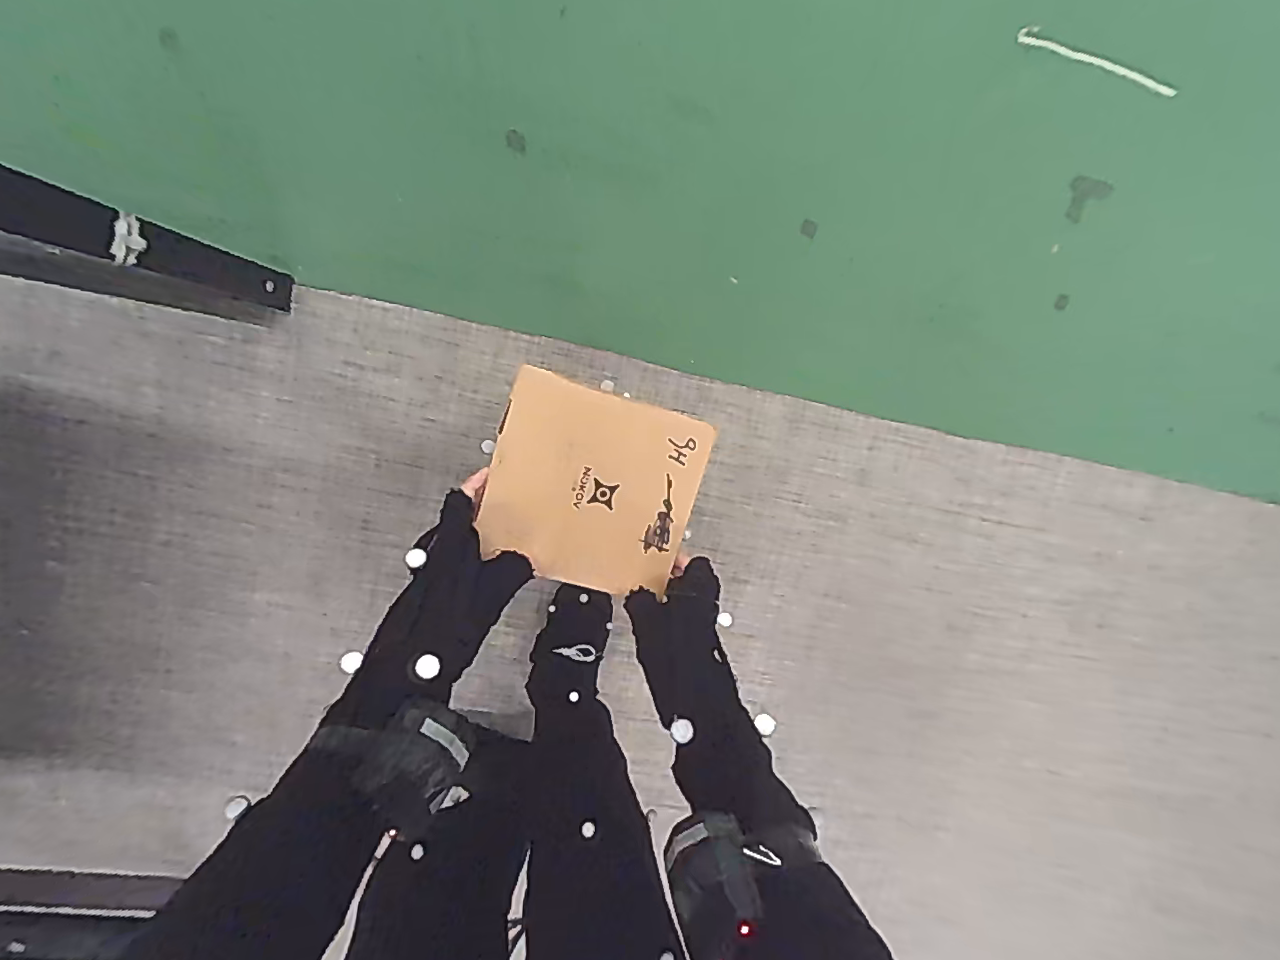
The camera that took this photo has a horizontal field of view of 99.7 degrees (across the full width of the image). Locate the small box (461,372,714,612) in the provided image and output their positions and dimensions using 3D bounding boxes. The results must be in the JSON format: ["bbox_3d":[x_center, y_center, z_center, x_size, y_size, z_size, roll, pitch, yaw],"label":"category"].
[{"bbox_3d":[-0.053,0.005,0.532,0.179,0.176,0.168,17,95,-10],"label":"small box"}]
